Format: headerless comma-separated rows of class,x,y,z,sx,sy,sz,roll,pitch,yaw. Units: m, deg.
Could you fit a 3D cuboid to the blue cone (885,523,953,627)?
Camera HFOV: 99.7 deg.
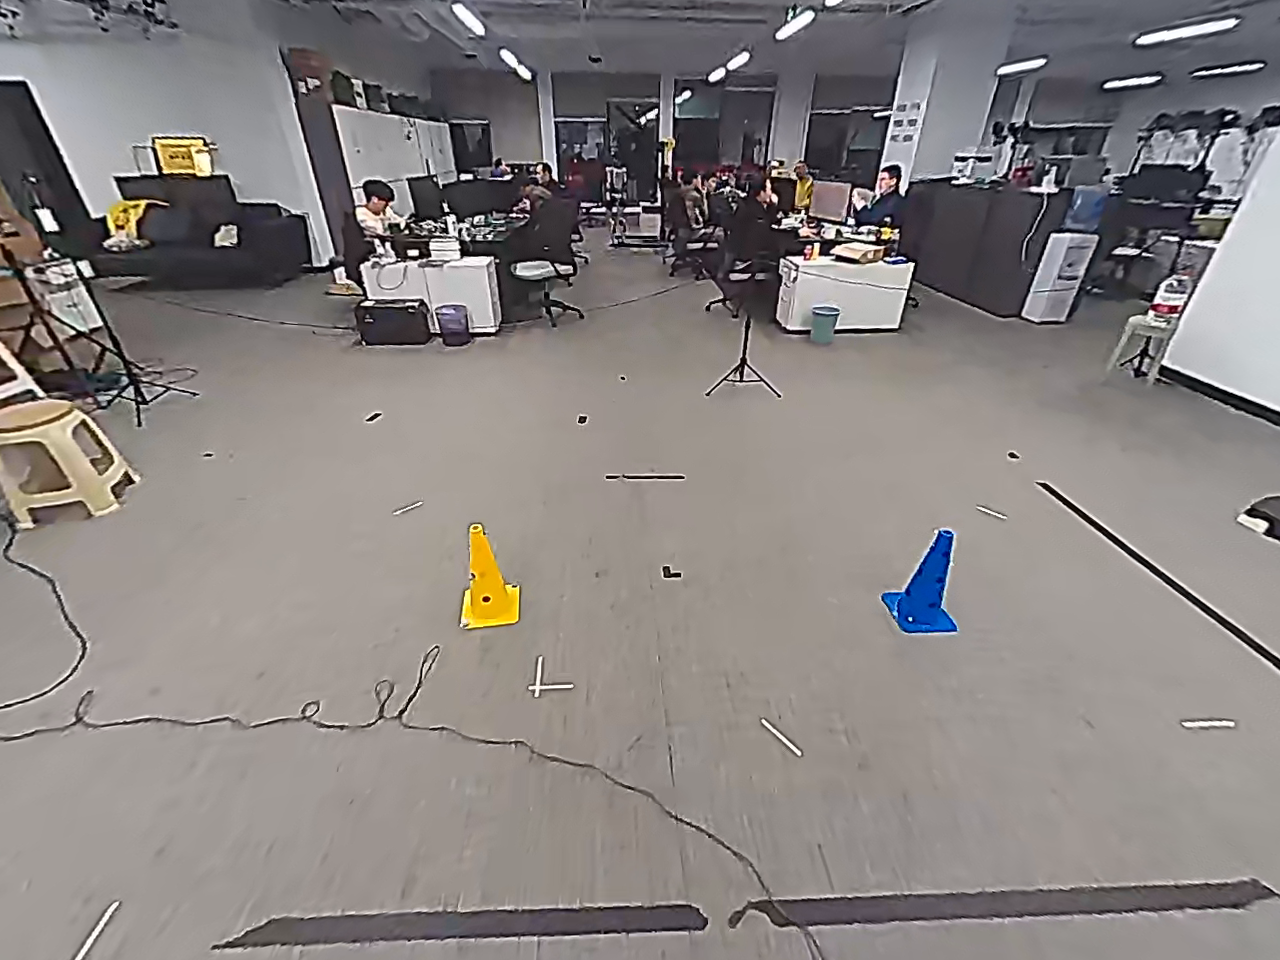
blue cone,1.005,0.319,1.863,0.193,0.380,0.192,-1,30,-2
